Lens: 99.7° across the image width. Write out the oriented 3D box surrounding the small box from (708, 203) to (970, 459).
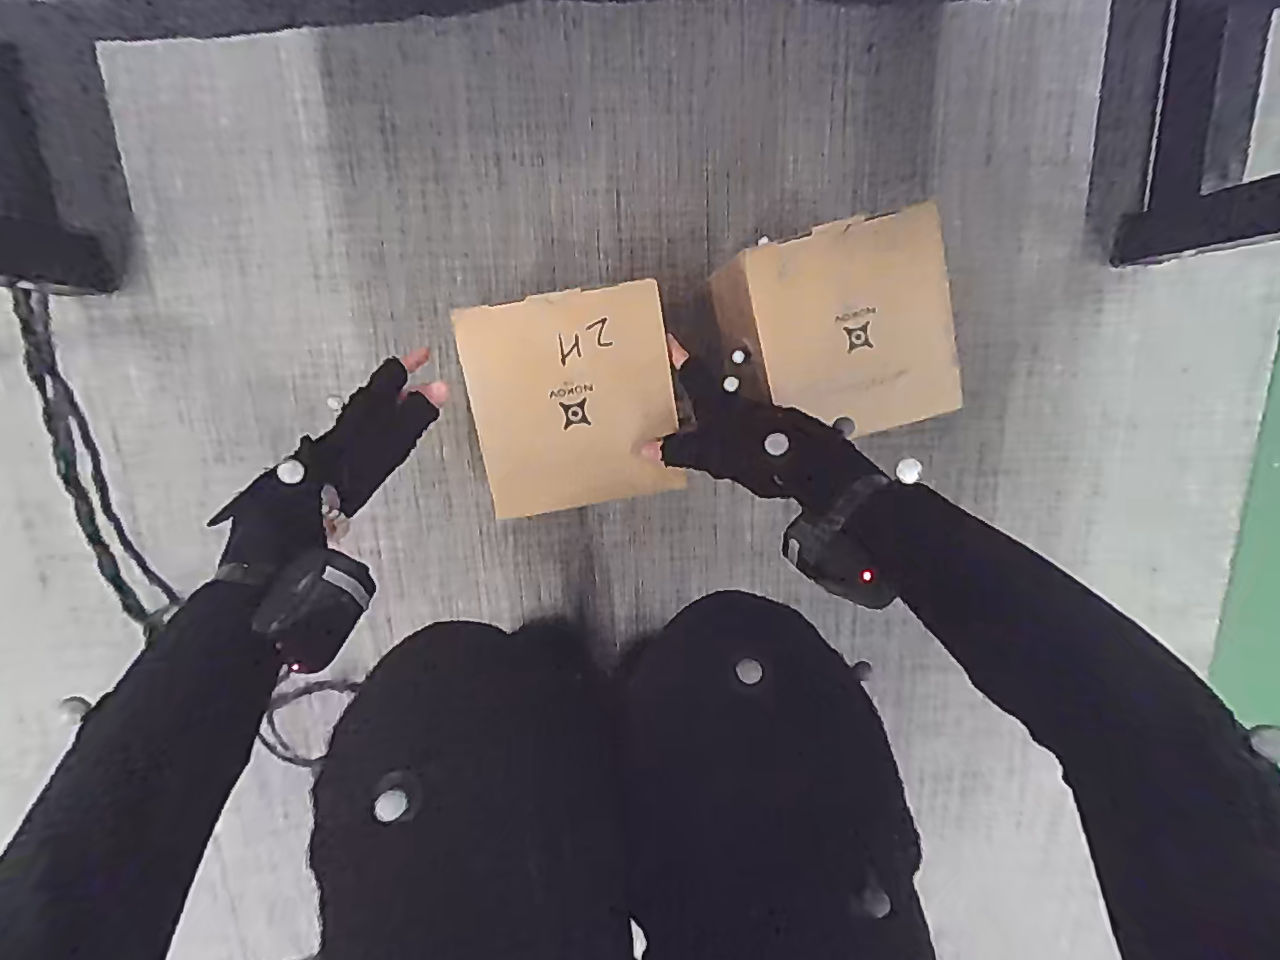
[{"bbox_3d":[0.174,-0.132,0.518,0.168,0.176,0.179,-15,102,-2],"label":"small box"}]
